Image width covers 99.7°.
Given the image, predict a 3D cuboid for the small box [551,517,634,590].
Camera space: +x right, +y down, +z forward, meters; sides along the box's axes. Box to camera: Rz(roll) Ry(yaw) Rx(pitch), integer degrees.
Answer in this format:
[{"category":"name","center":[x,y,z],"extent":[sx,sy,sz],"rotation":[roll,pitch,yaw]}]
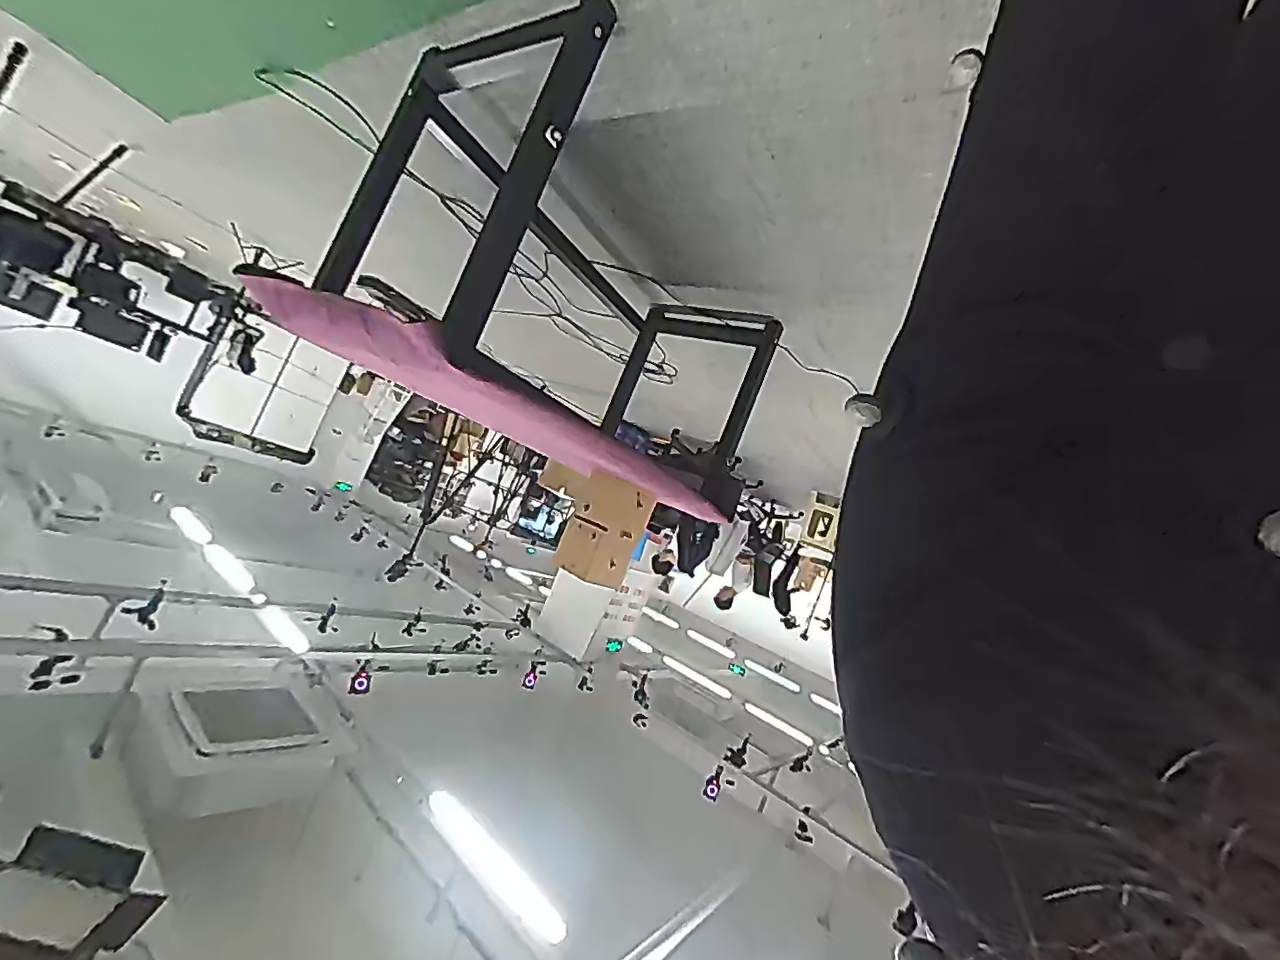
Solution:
[{"category":"small box","center":[-0.151,0.236,1.755],"extent":[0.168,0.176,0.179],"rotation":[22,175,39]}]

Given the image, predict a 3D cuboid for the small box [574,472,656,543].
[{"category":"small box","center":[-0.078,0.086,1.772],"extent":[0.179,0.176,0.168],"rotation":[19,174,41]}]
